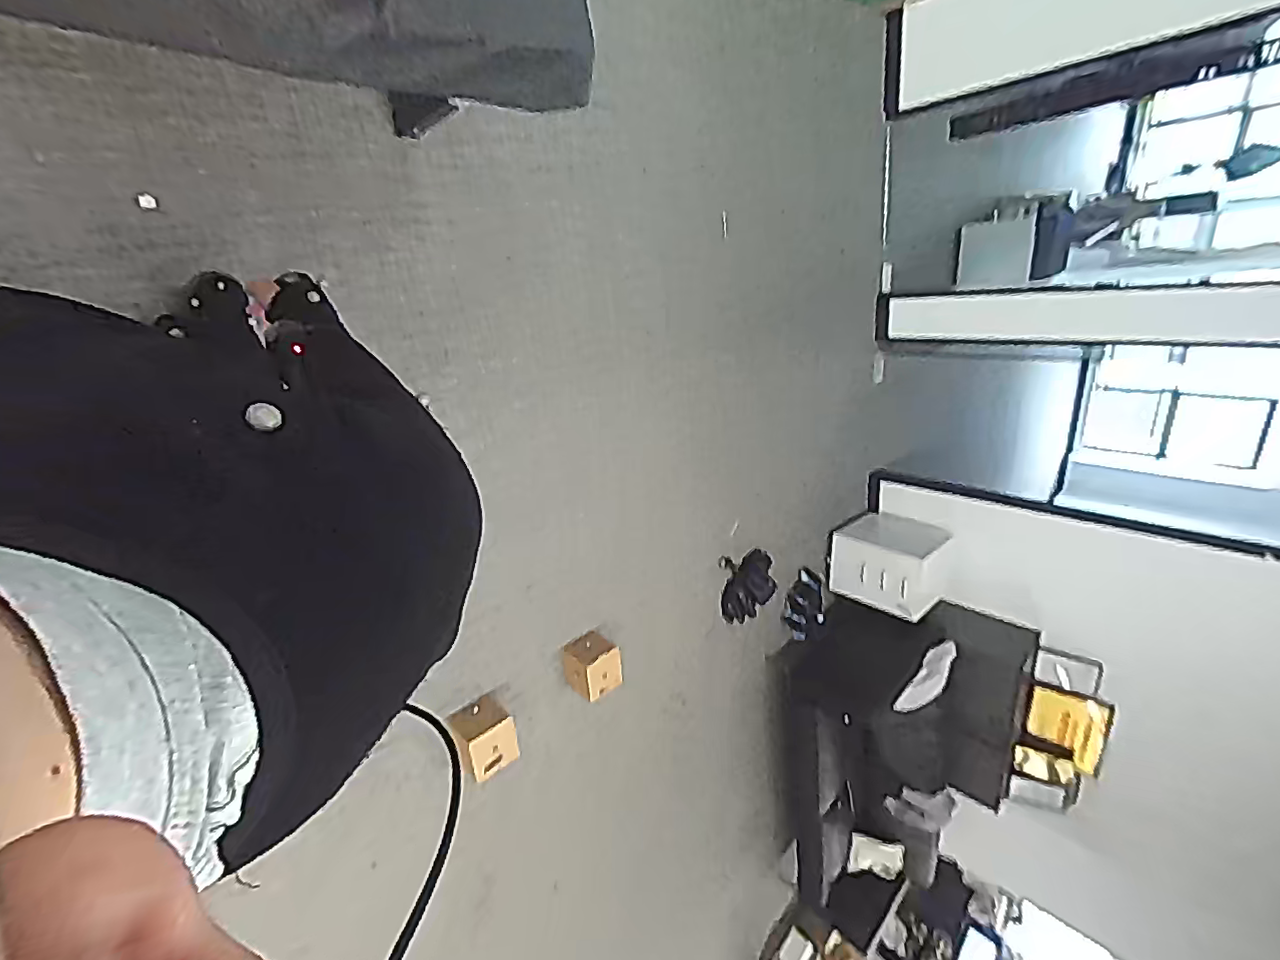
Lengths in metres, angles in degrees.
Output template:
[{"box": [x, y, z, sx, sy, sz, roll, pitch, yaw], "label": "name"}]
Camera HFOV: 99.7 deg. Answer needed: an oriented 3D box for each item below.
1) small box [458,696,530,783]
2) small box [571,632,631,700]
[{"box": [-0.502, 0.881, 1.855, 0.168, 0.176, 0.179, -23, 115, -39], "label": "small box"}, {"box": [-0.159, 0.728, 2.149, 0.168, 0.176, 0.179, -23, 115, -38], "label": "small box"}]
